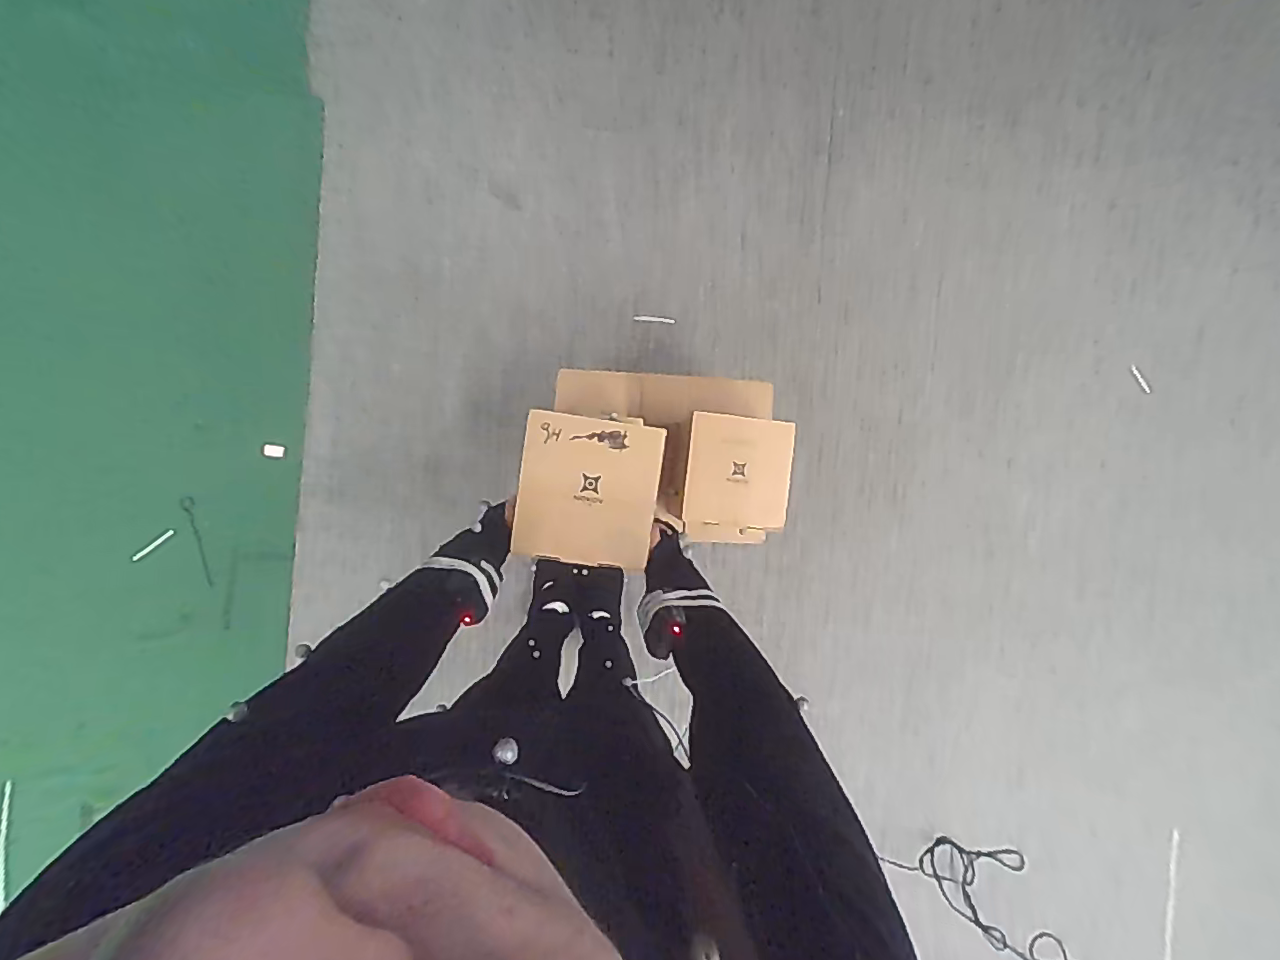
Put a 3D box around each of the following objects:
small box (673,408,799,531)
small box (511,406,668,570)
[{"bbox_3d":[0.153,-0.017,0.919,0.168,0.176,0.179,7,90,-3],"label":"small box"},{"bbox_3d":[-0.066,0.004,0.719,0.168,0.176,0.179,9,94,-7],"label":"small box"}]
